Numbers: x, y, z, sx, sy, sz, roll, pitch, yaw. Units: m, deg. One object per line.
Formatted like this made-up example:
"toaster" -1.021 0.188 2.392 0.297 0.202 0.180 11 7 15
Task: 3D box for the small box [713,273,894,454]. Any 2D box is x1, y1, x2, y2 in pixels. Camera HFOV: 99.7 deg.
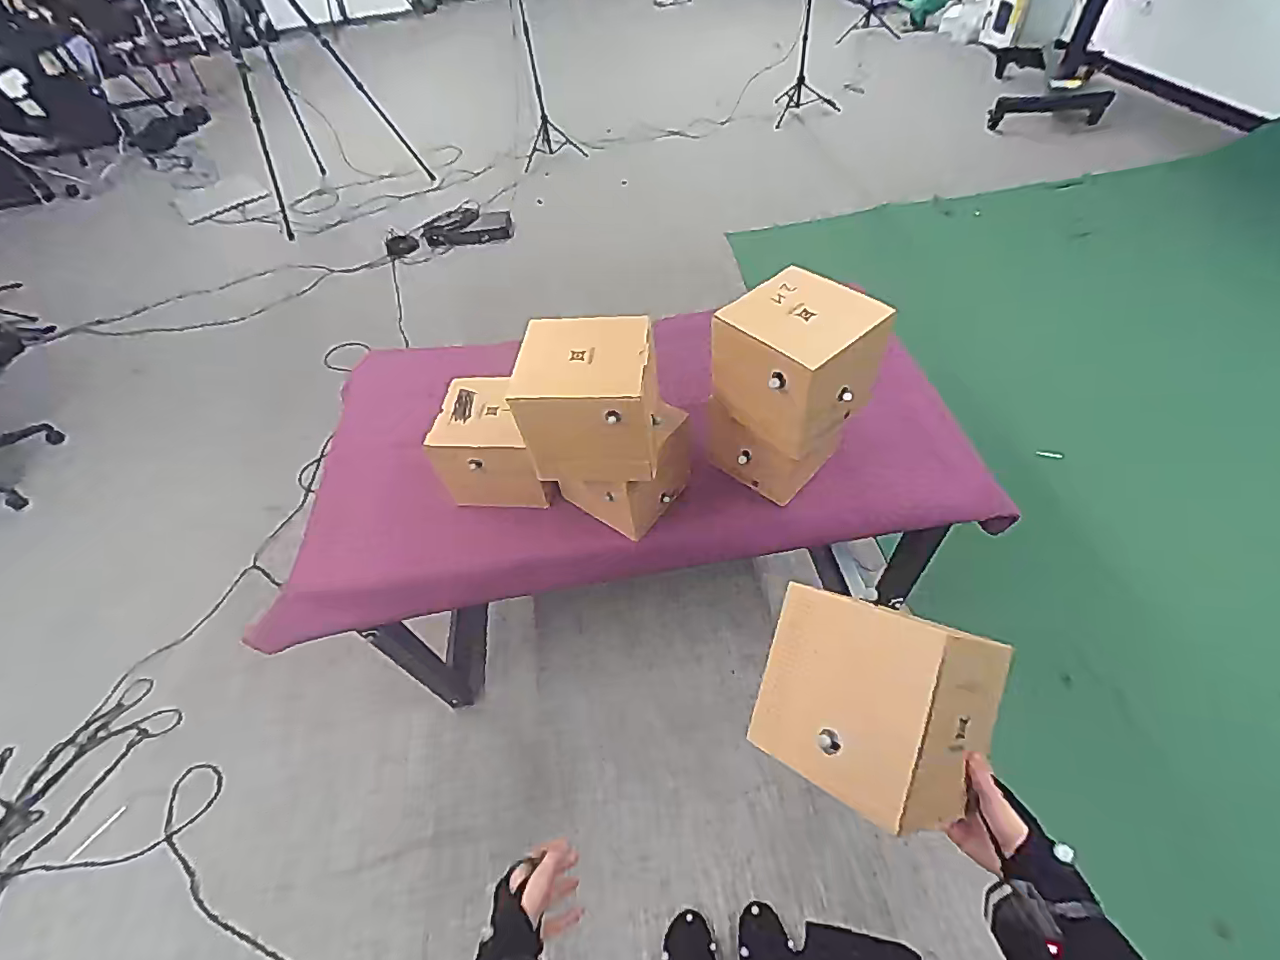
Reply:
"small box" 0.224 -0.161 0.780 0.168 0.176 0.179 -34 54 -20

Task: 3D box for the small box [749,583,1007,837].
"small box" 0.239 0.223 0.560 0.176 0.168 0.179 11 83 52

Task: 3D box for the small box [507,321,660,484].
"small box" -0.067 -0.108 0.774 0.179 0.176 0.168 1 51 7

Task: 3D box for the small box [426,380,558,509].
"small box" -0.246 -0.060 0.967 0.179 0.176 0.168 2 52 7

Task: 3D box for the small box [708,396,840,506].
"small box" 0.236 -0.088 0.933 0.168 0.176 0.179 34 63 30
